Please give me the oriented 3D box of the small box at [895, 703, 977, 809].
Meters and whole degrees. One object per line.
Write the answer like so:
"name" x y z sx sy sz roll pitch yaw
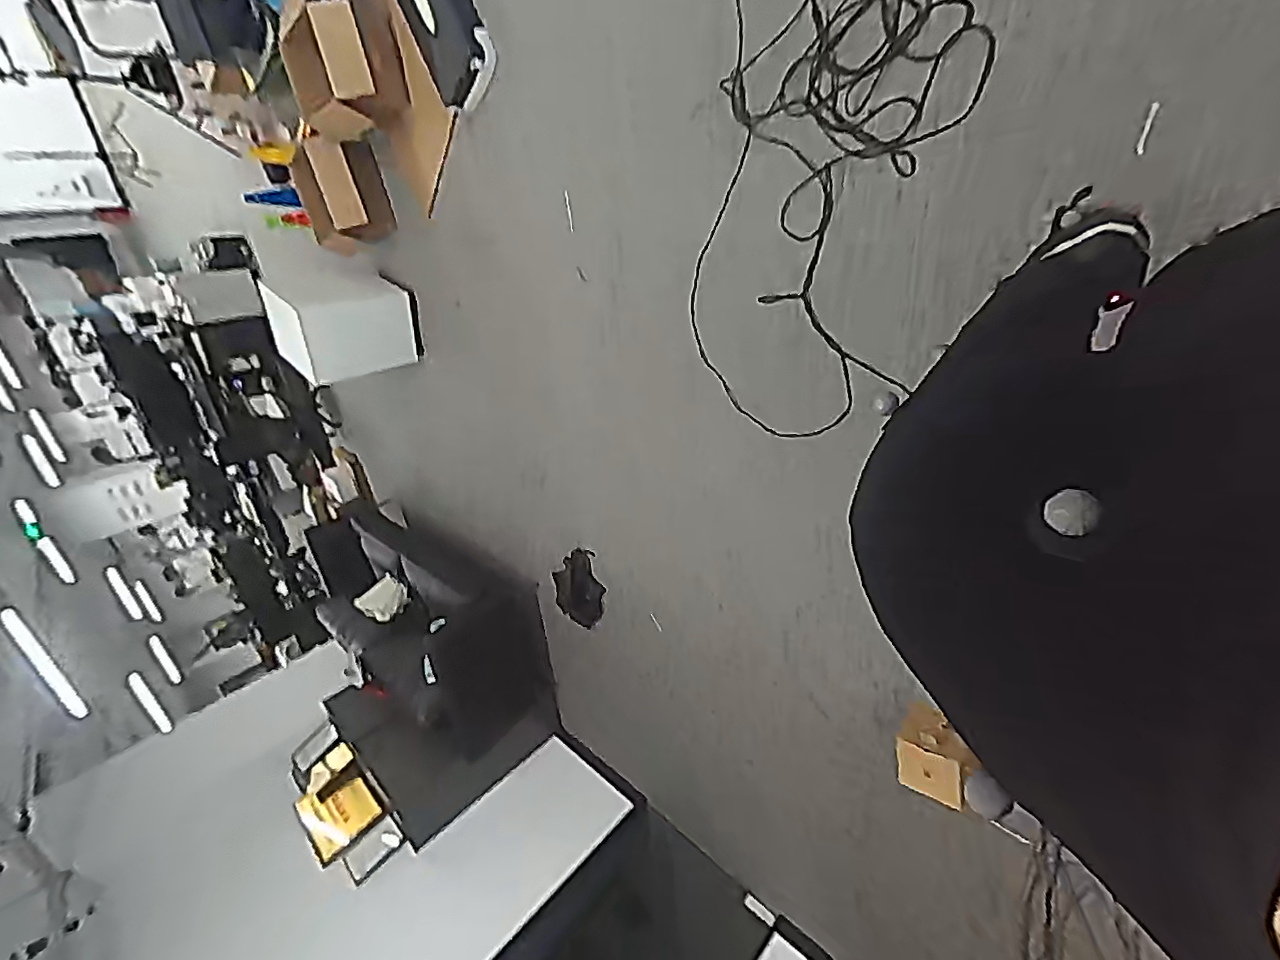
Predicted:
"small box" 0.859 0.788 1.564 0.168 0.176 0.179 7 116 46
